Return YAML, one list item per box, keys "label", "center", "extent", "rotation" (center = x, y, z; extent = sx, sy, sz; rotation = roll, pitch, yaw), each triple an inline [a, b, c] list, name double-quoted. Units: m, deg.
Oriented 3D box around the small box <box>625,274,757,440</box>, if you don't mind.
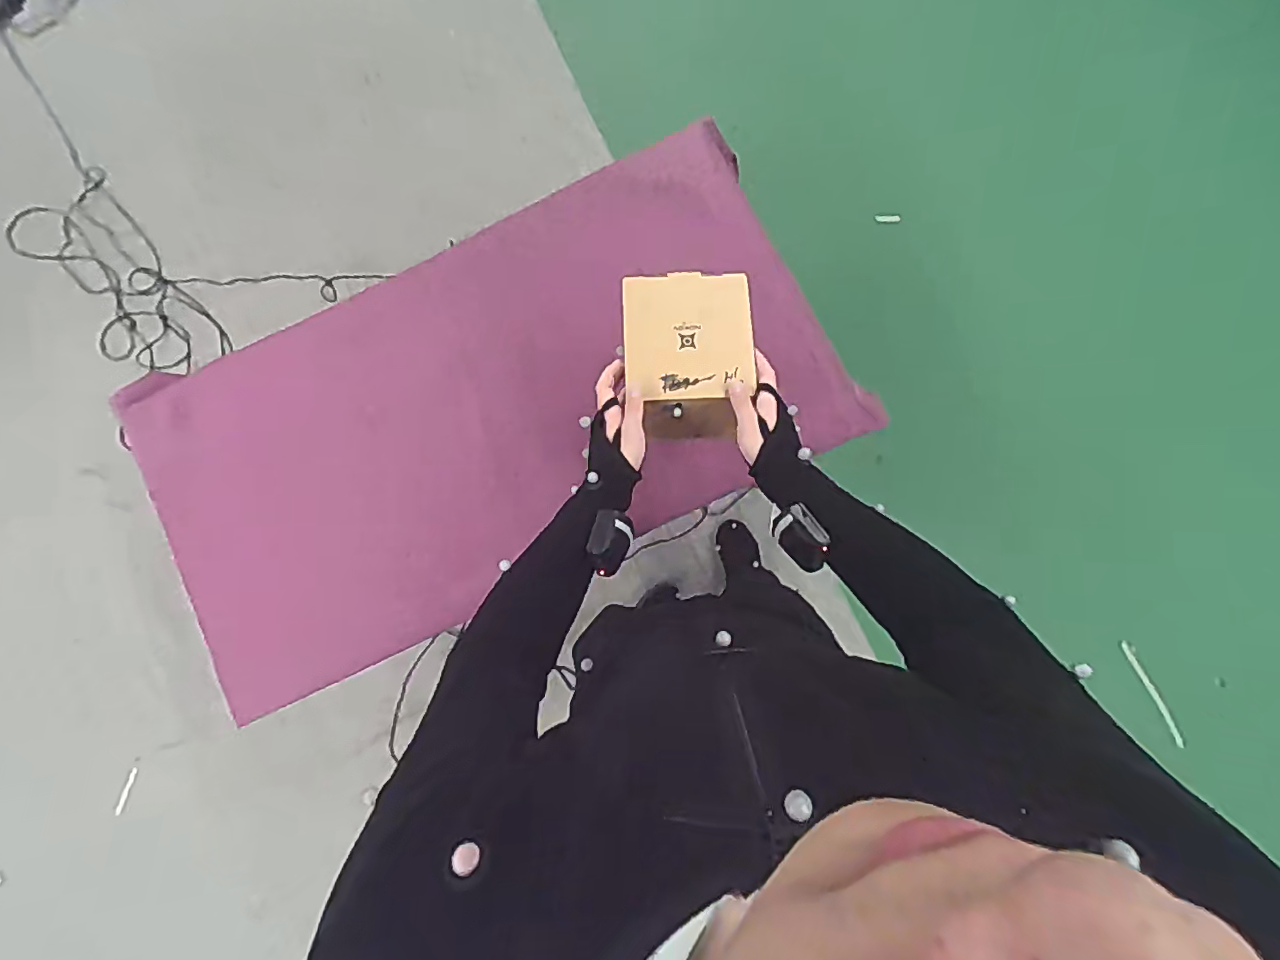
- label: "small box"
  center: [0.063, -0.165, 0.762]
  extent: [0.168, 0.176, 0.179]
  rotation: [-1, 77, 1]
